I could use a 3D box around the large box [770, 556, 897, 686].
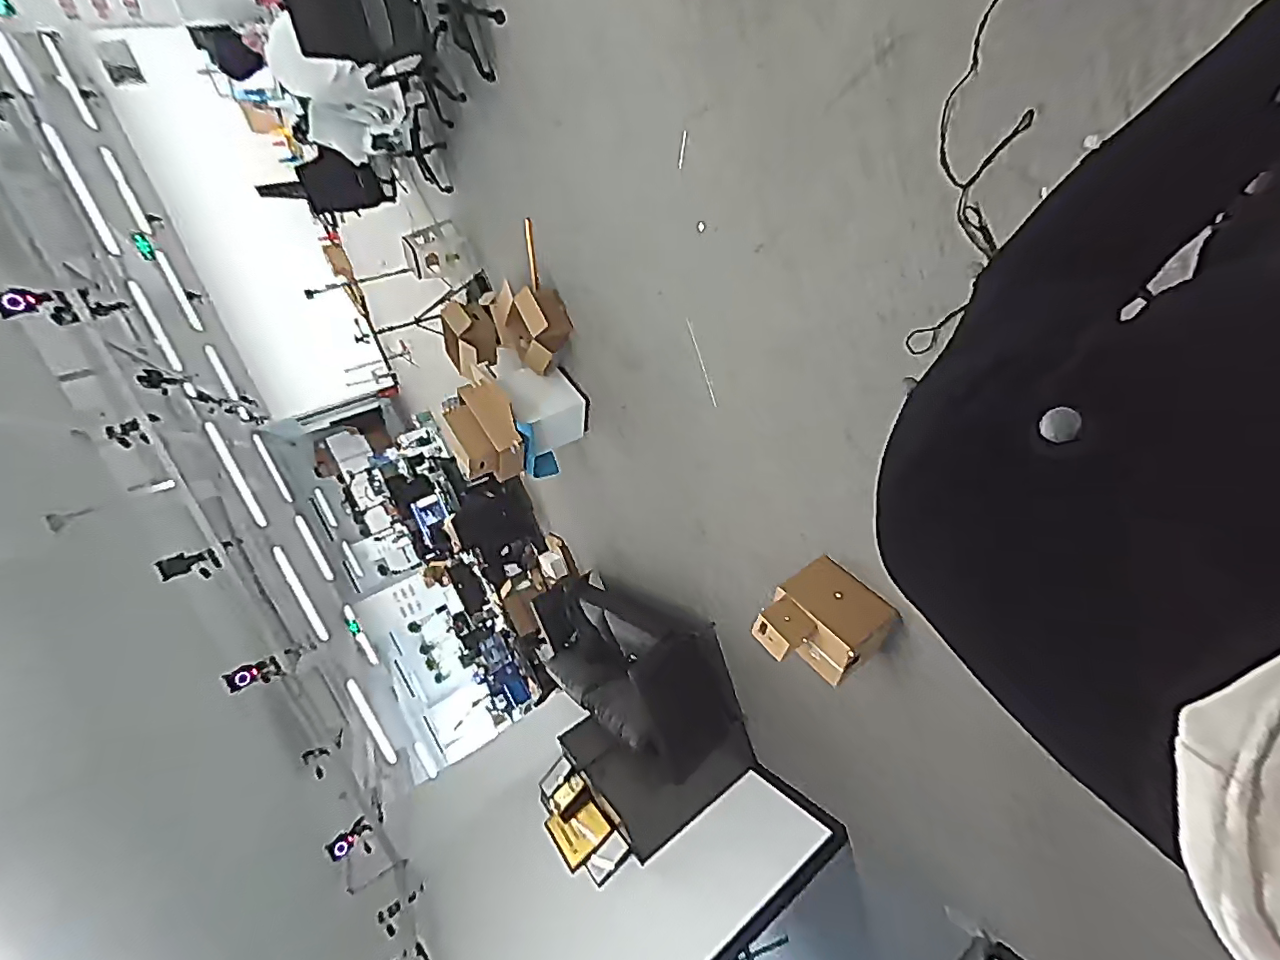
[{"bbox_3d":[0.854,0.619,2.432,0.408,0.320,0.320,40,147,38],"label":"large box"}]
